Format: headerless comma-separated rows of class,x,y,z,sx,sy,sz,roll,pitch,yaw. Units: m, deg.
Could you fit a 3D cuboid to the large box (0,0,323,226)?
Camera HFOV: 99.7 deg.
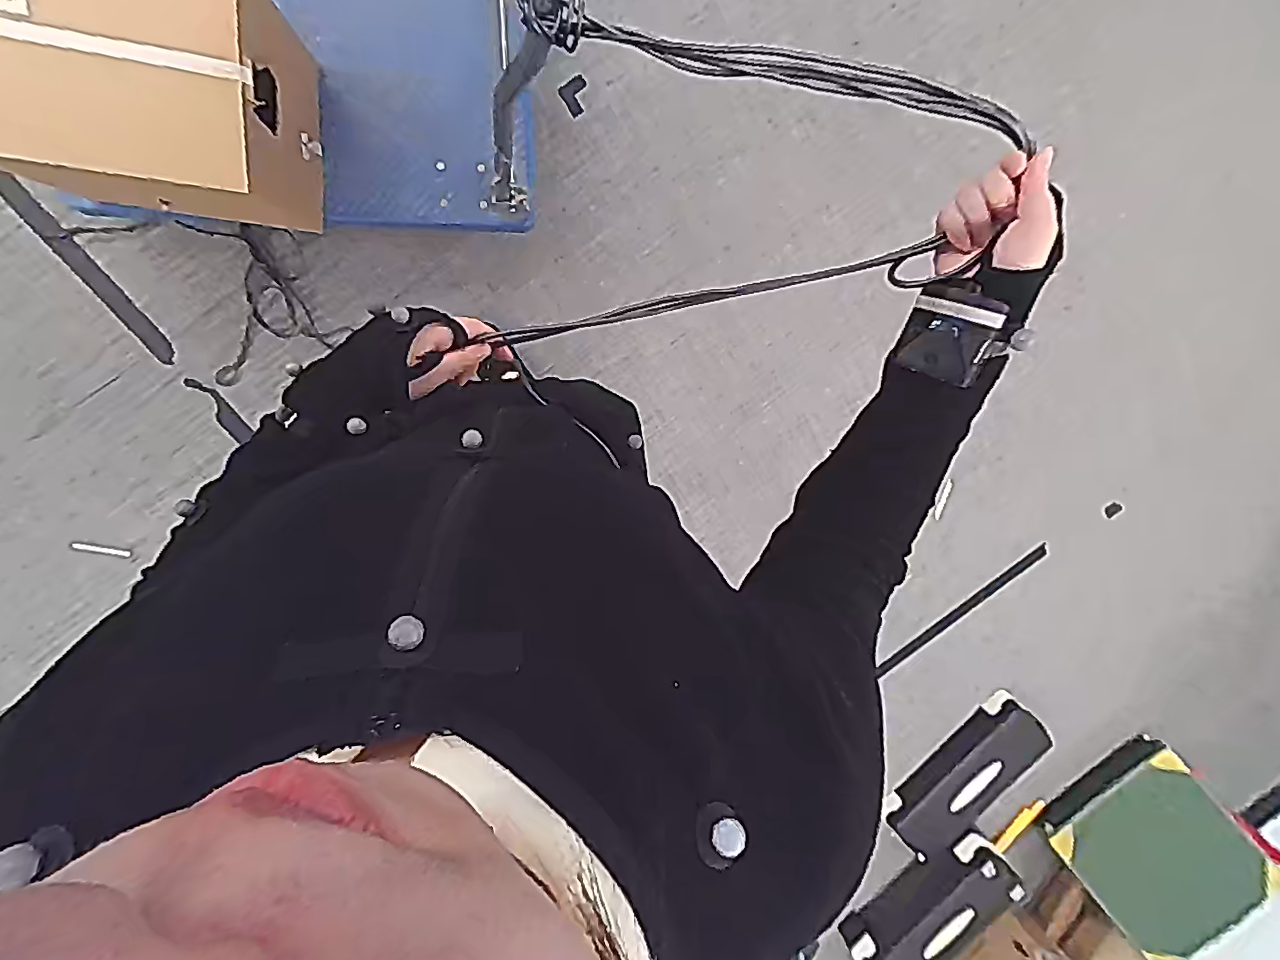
large box,-0.786,-0.620,0.867,0.408,0.320,0.320,3,103,-12
